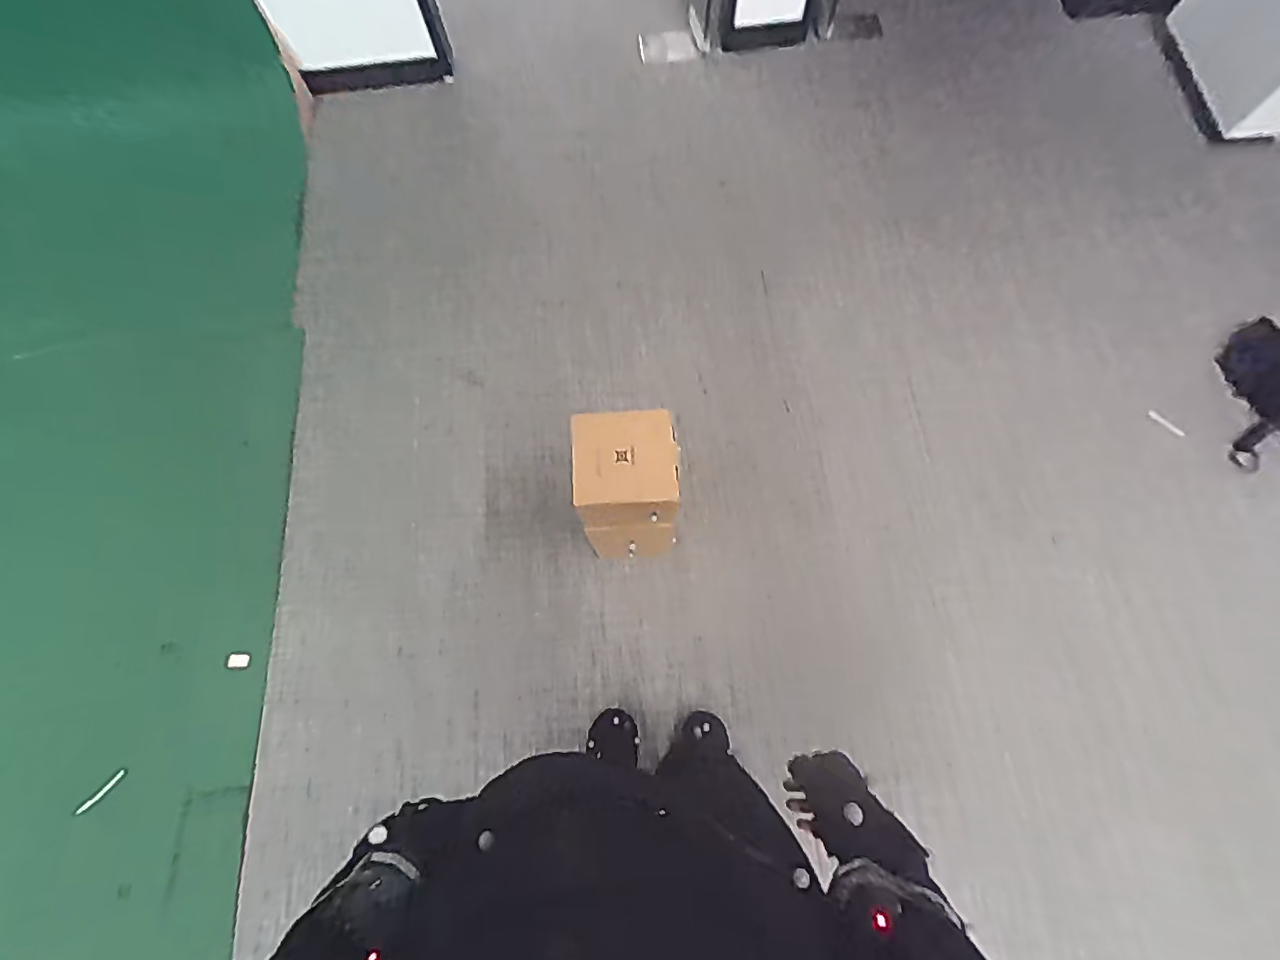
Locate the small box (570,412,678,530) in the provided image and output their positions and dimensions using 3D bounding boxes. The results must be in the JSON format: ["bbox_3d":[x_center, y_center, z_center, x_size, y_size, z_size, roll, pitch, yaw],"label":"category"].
[{"bbox_3d":[-0.028,-0.010,0.986,0.179,0.176,0.168,-5,72,1],"label":"small box"}]

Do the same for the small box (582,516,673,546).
[{"bbox_3d":[-0.027,0.043,1.139,0.179,0.176,0.168,-3,72,0],"label":"small box"}]

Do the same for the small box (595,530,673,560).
[{"bbox_3d":[-0.021,0.093,1.294,0.179,0.176,0.168,-6,73,-1],"label":"small box"}]
